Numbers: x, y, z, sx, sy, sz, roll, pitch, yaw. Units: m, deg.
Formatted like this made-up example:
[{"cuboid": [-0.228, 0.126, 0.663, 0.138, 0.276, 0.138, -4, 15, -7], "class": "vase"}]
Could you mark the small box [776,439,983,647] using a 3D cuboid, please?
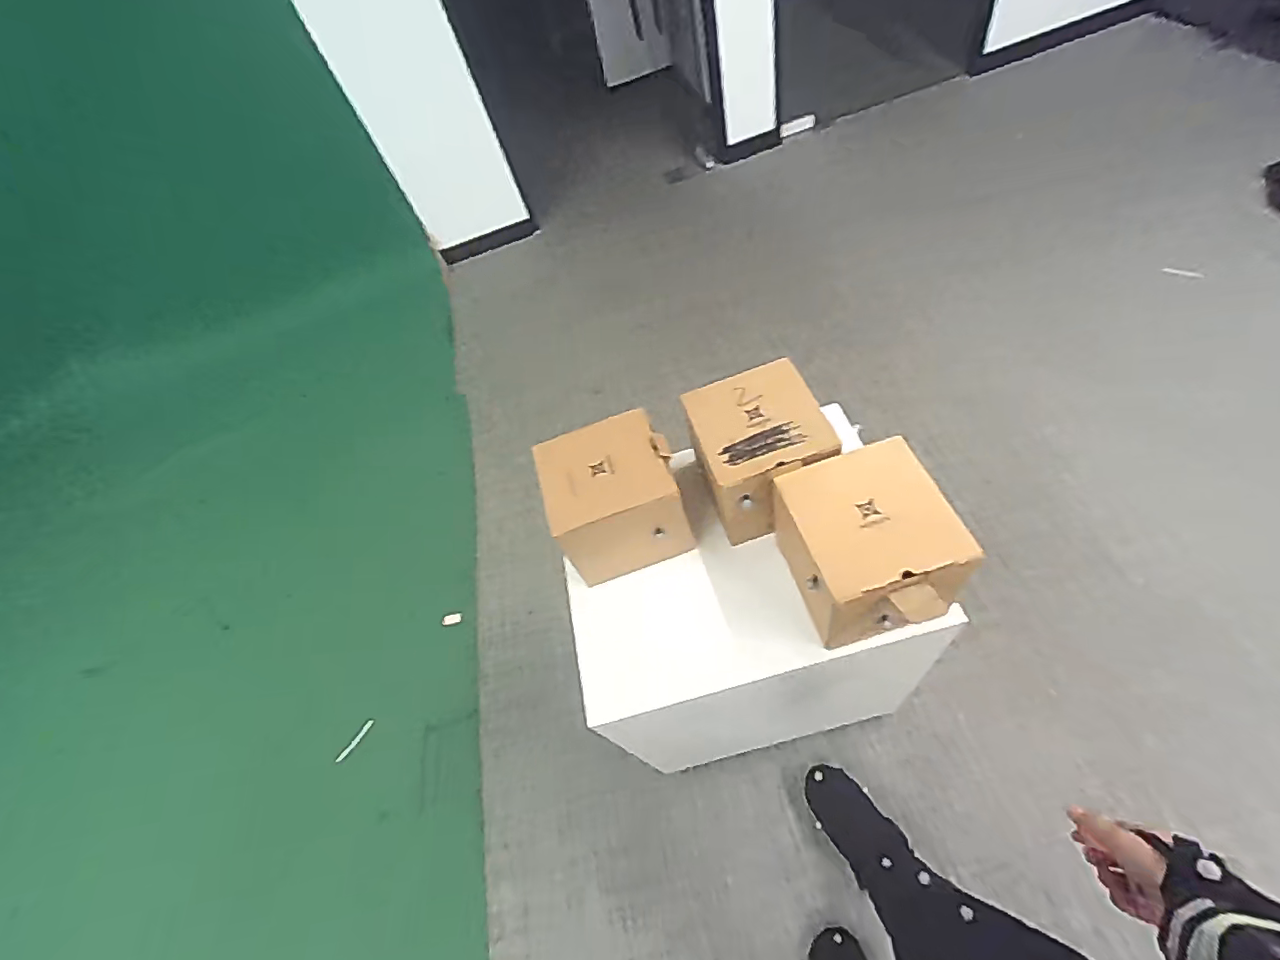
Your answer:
[{"cuboid": [0.279, 0.083, 0.680, 0.168, 0.176, 0.179, -19, 53, 2], "class": "small box"}]

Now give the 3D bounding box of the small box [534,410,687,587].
[{"cuboid": [-0.036, 0.032, 0.801, 0.179, 0.176, 0.168, -21, 53, 0], "class": "small box"}]
